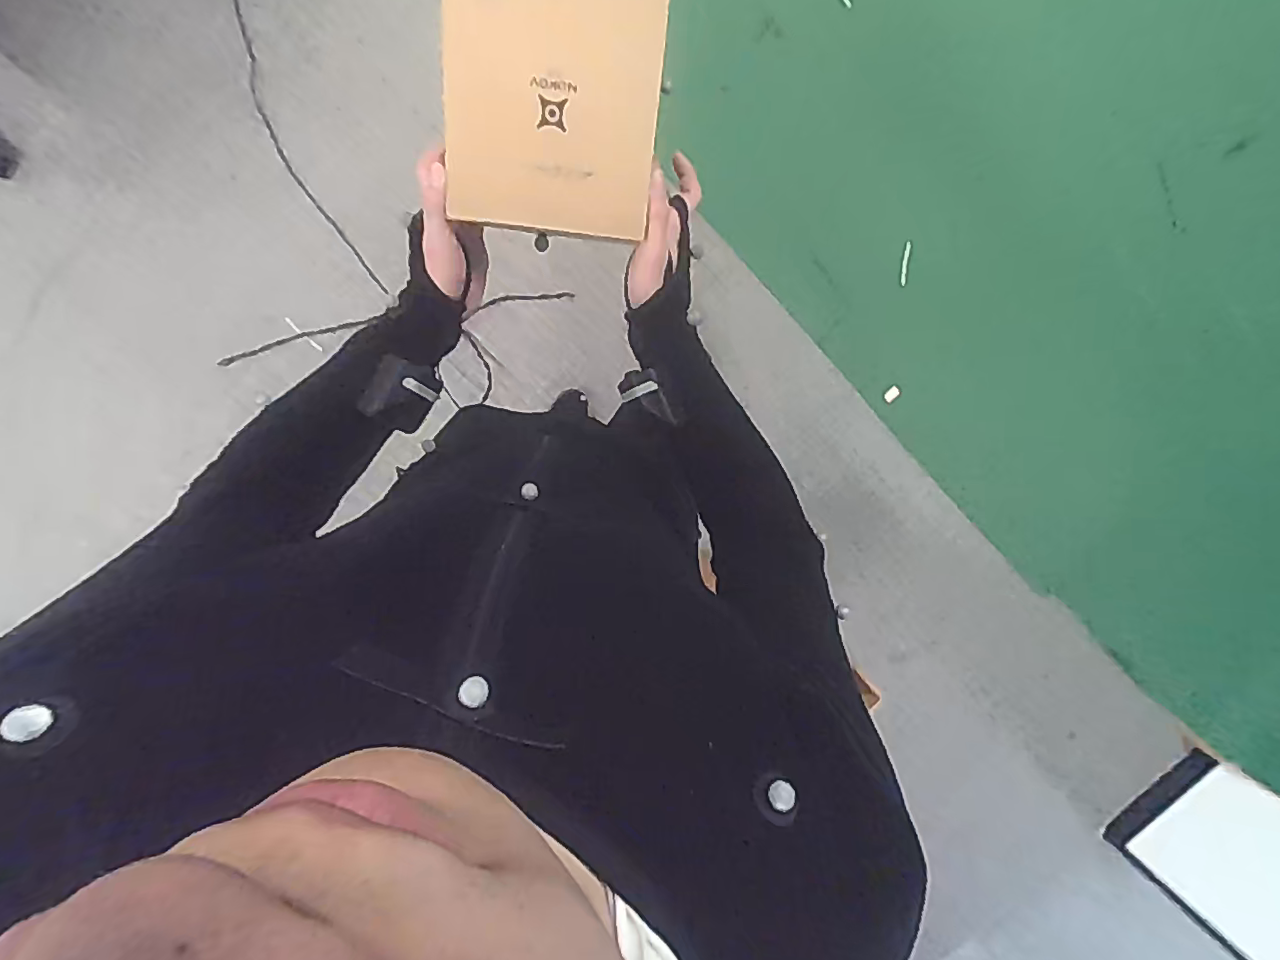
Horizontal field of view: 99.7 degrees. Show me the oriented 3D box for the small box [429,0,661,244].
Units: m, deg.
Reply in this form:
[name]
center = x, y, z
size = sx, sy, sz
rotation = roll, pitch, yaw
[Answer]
[small box]
center = -0.079, -0.316, 0.481
size = 0.168, 0.176, 0.179
rotation = 4, 112, -5
